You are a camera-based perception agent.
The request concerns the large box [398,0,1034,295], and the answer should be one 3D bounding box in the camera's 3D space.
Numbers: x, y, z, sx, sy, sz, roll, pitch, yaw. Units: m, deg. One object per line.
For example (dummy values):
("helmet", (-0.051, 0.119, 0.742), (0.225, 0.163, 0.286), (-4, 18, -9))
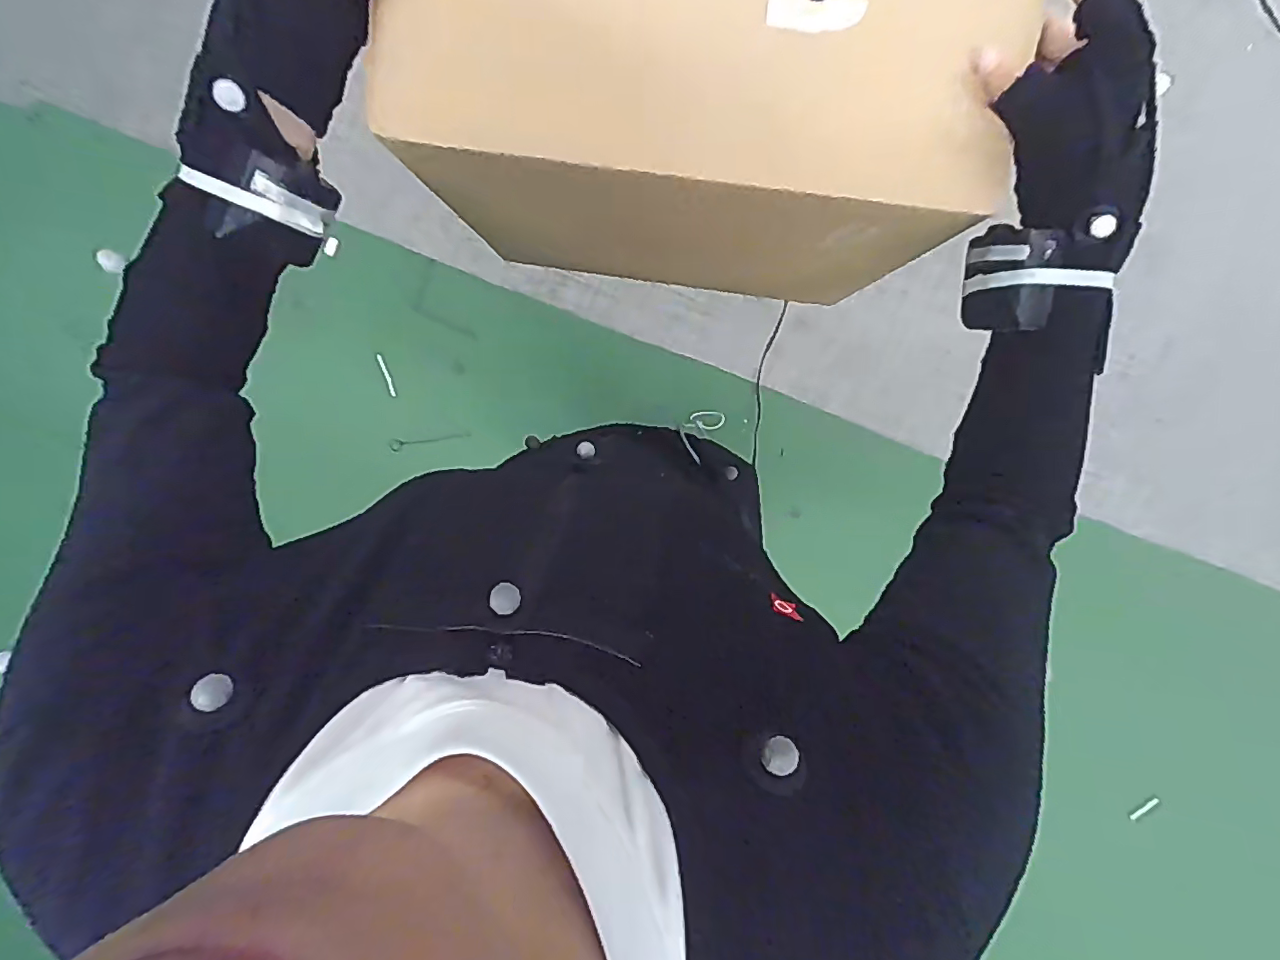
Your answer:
("large box", (0.054, -0.373, 0.481), (0.408, 0.320, 0.320), (7, 99, -1))
